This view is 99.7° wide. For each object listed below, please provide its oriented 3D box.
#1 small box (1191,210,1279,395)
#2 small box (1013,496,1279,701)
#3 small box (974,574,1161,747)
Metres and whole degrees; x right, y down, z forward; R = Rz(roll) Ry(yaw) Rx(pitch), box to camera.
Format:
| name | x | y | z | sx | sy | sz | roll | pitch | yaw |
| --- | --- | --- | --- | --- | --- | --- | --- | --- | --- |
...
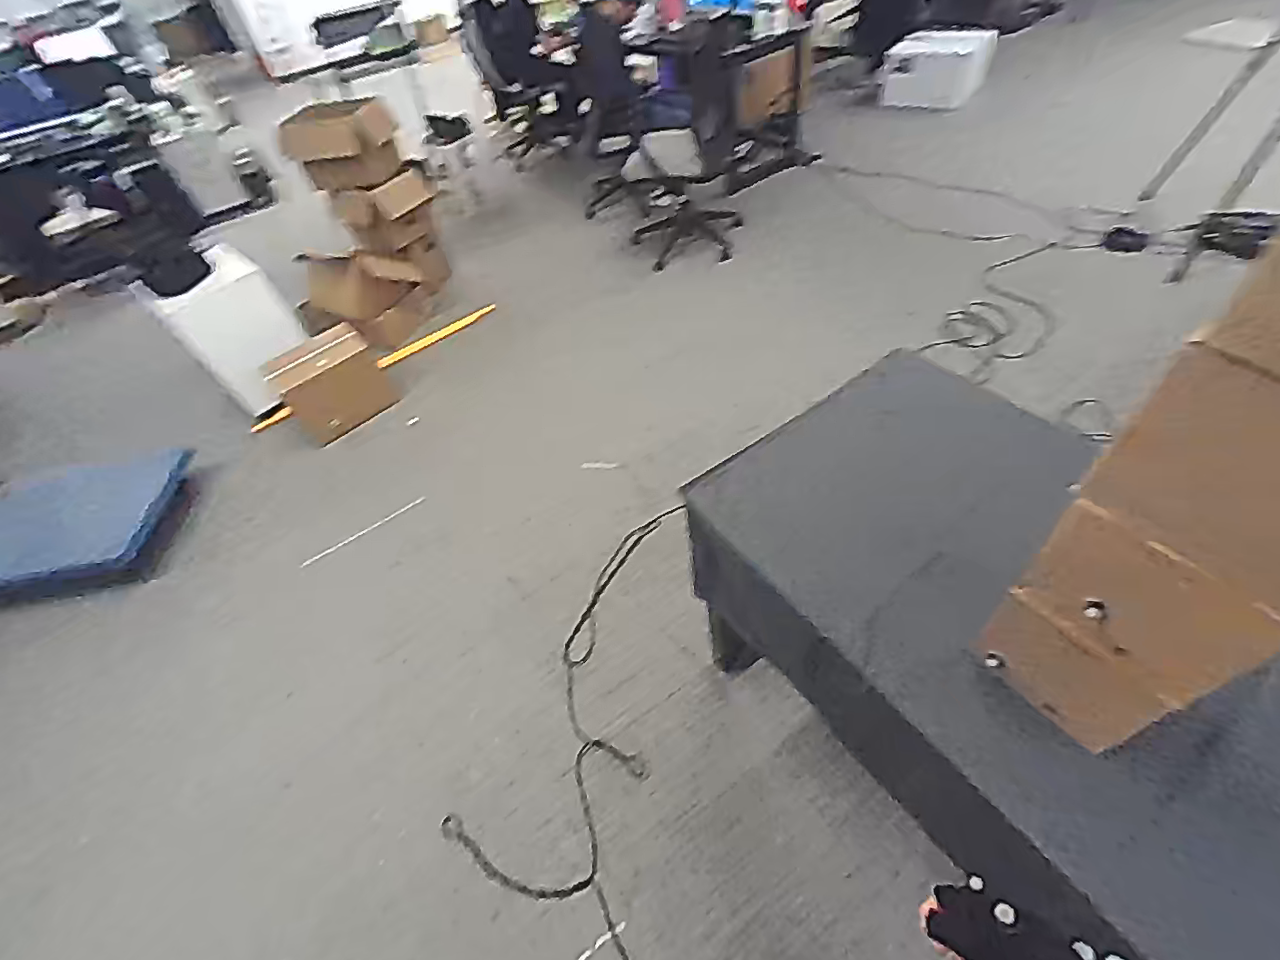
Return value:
| name | x | y | z | sx | sy | sz | roll | pitch | yaw |
| --- | --- | --- | --- | --- | --- | --- | --- | --- | --- |
| small box | 0.466 | -0.133 | 0.283 | 0.179 | 0.176 | 0.168 | -29 | 50 | -15 |
| small box | 0.515 | 0.078 | 0.531 | 0.179 | 0.176 | 0.168 | -31 | 50 | -16 |
| small box | 0.539 | 0.184 | 0.651 | 0.179 | 0.176 | 0.168 | -31 | 50 | -17 |
